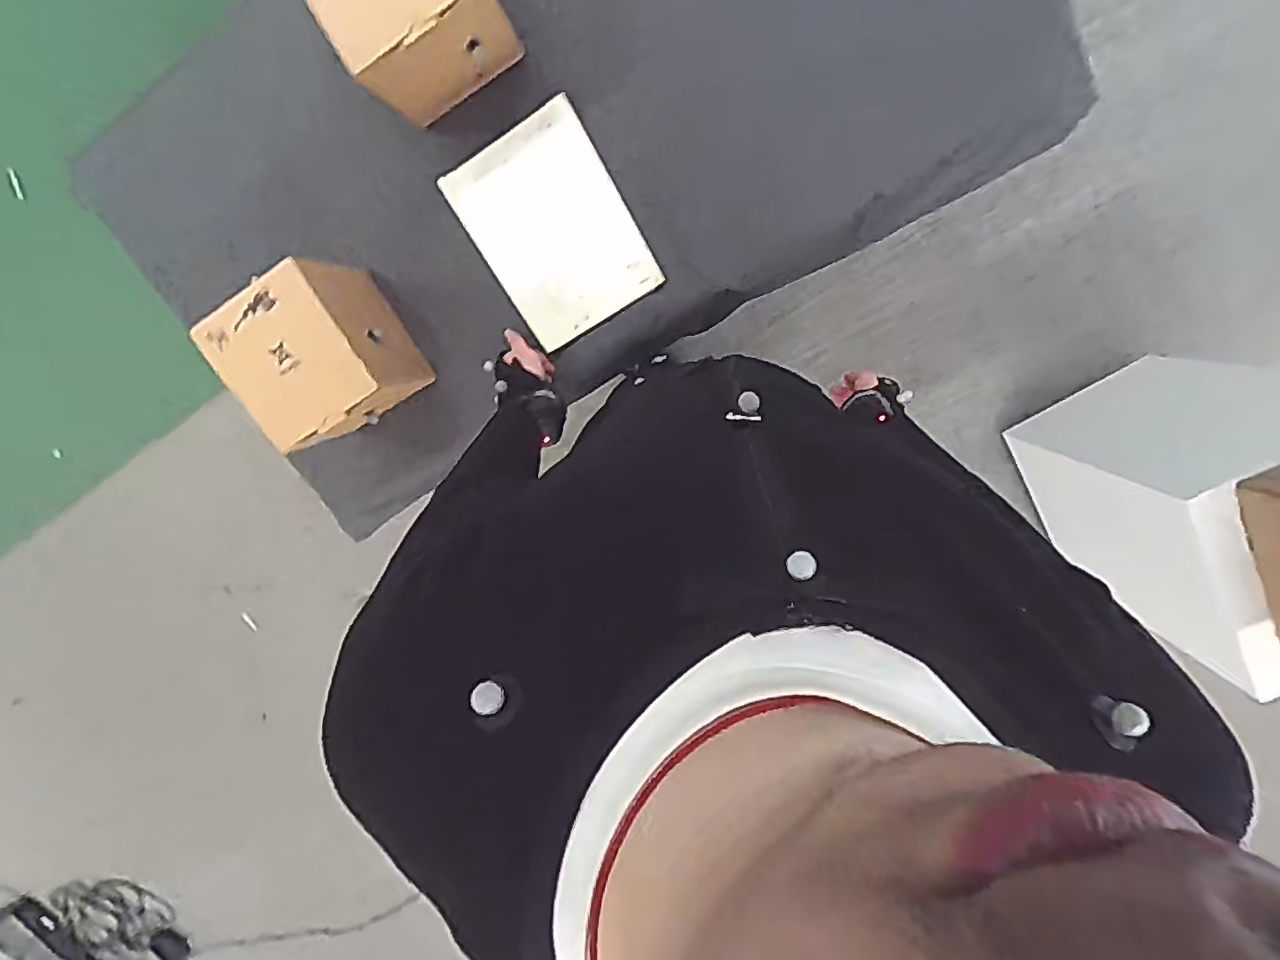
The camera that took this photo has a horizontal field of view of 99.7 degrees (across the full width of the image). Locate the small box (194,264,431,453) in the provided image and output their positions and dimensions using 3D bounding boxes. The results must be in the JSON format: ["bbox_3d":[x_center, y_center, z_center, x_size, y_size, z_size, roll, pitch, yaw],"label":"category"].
[{"bbox_3d":[-0.418,-0.165,0.728,0.168,0.176,0.179,-29,104,10],"label":"small box"}]

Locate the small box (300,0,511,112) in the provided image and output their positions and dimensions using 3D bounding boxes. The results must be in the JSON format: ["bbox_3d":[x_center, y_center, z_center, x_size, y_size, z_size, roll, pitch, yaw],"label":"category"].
[{"bbox_3d":[-0.265,-0.541,0.587,0.168,0.176,0.179,-29,104,10],"label":"small box"}]
